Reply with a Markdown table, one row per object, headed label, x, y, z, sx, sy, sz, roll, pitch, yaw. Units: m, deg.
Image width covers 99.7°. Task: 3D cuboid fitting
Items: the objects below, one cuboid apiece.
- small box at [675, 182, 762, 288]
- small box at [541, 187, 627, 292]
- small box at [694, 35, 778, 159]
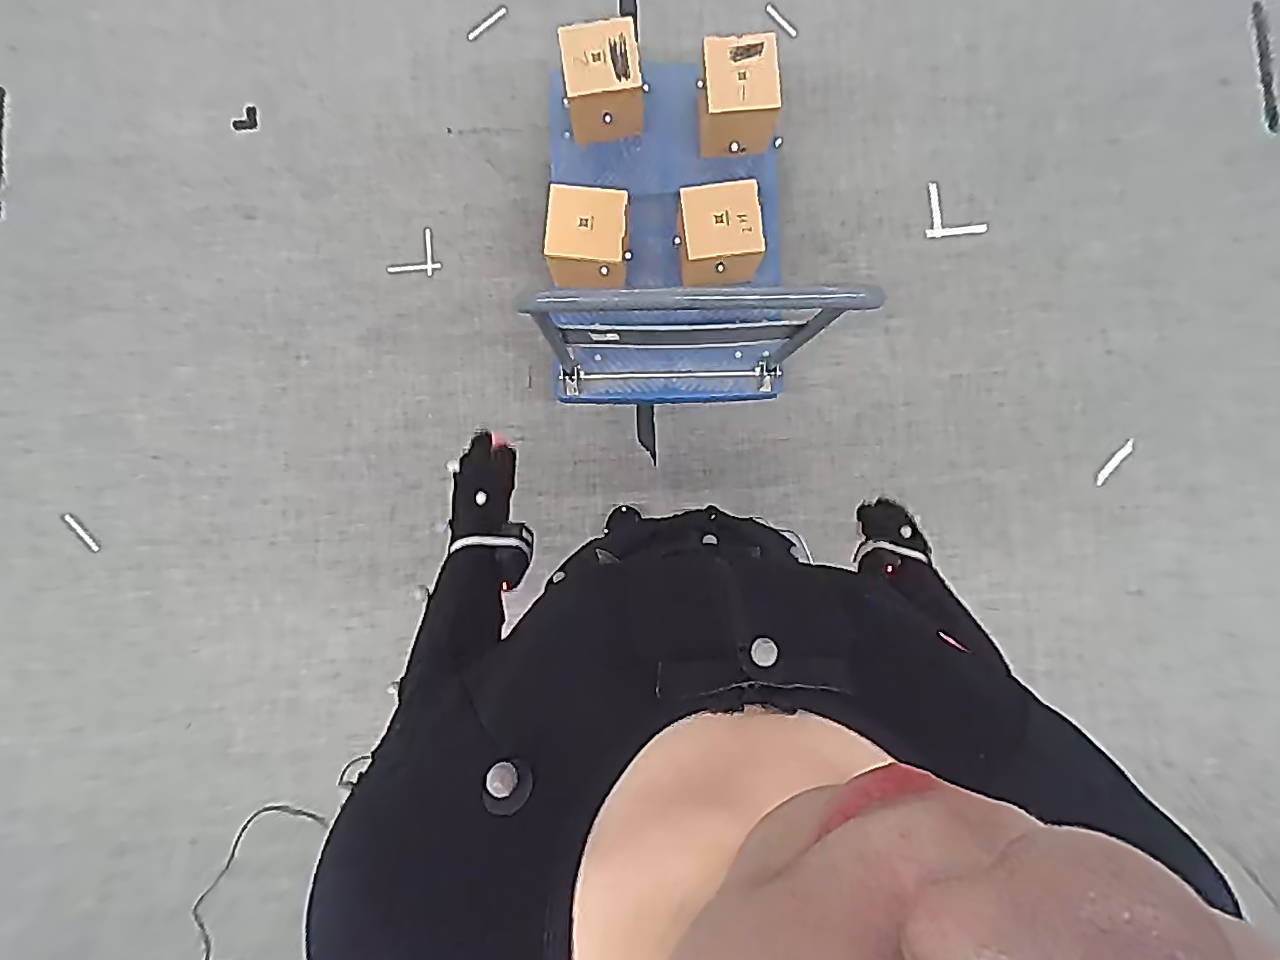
| label | x | y | z | sx | sy | sz | roll | pitch | yaw |
| --- | --- | --- | --- | --- | --- | --- | --- | --- | --- |
| small box | 0.177 | -0.569 | 1.276 | 0.179 | 0.176 | 0.168 | -7 | 88 | 0 |
| small box | -0.126 | -0.560 | 1.278 | 0.179 | 0.176 | 0.168 | 5 | 87 | -1 |
| small box | 0.222 | -0.906 | 1.289 | 0.168 | 0.176 | 0.179 | -4 | 89 | 1 |
